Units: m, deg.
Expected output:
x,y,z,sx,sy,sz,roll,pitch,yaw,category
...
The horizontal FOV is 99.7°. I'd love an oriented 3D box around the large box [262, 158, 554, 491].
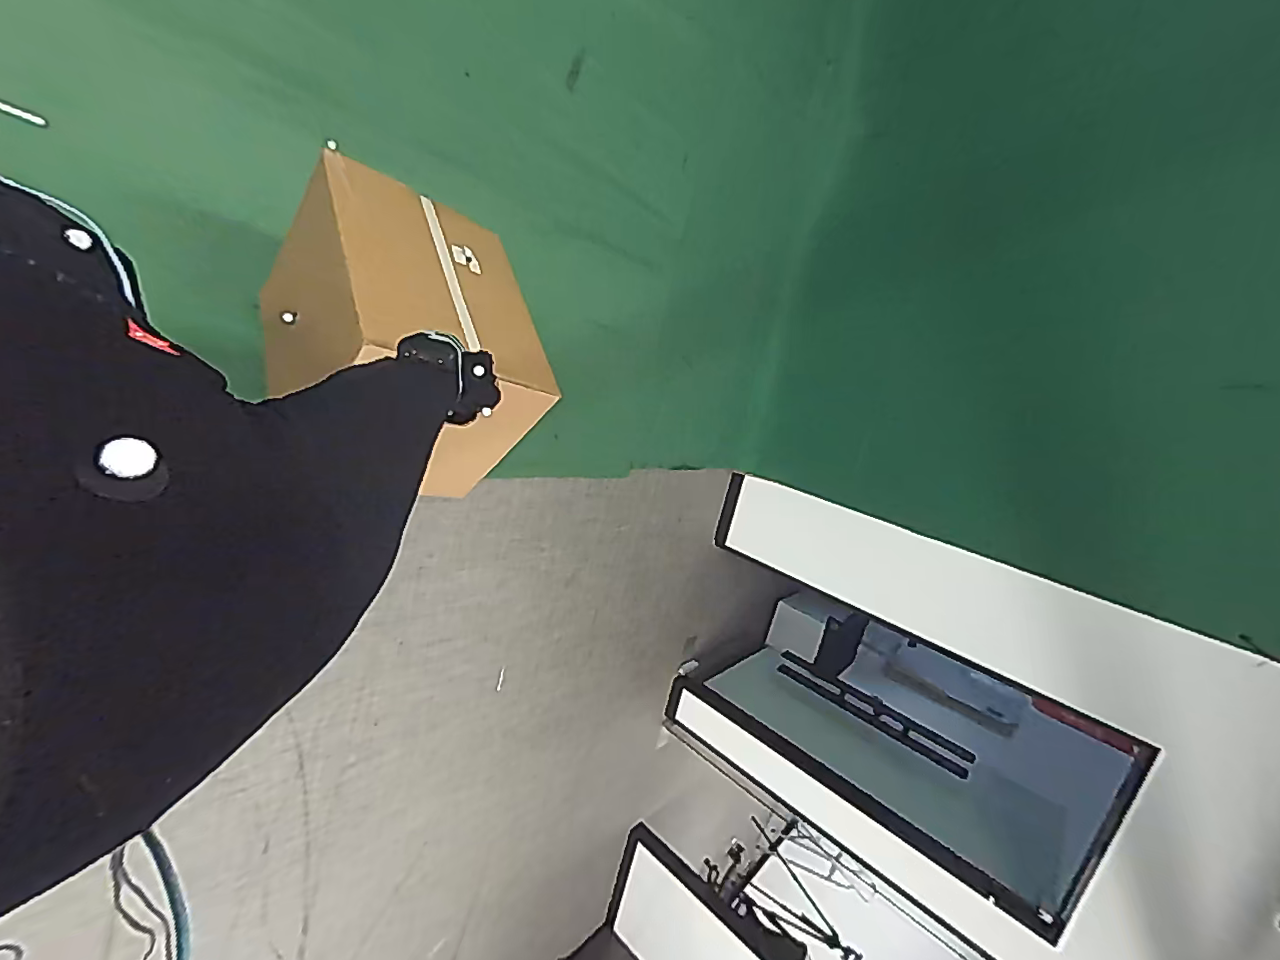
x,y,z,sx,sy,sz,roll,pitch,yaw,category
-0.410,-0.230,0.926,0.320,0.408,0.320,-40,151,29,large box
